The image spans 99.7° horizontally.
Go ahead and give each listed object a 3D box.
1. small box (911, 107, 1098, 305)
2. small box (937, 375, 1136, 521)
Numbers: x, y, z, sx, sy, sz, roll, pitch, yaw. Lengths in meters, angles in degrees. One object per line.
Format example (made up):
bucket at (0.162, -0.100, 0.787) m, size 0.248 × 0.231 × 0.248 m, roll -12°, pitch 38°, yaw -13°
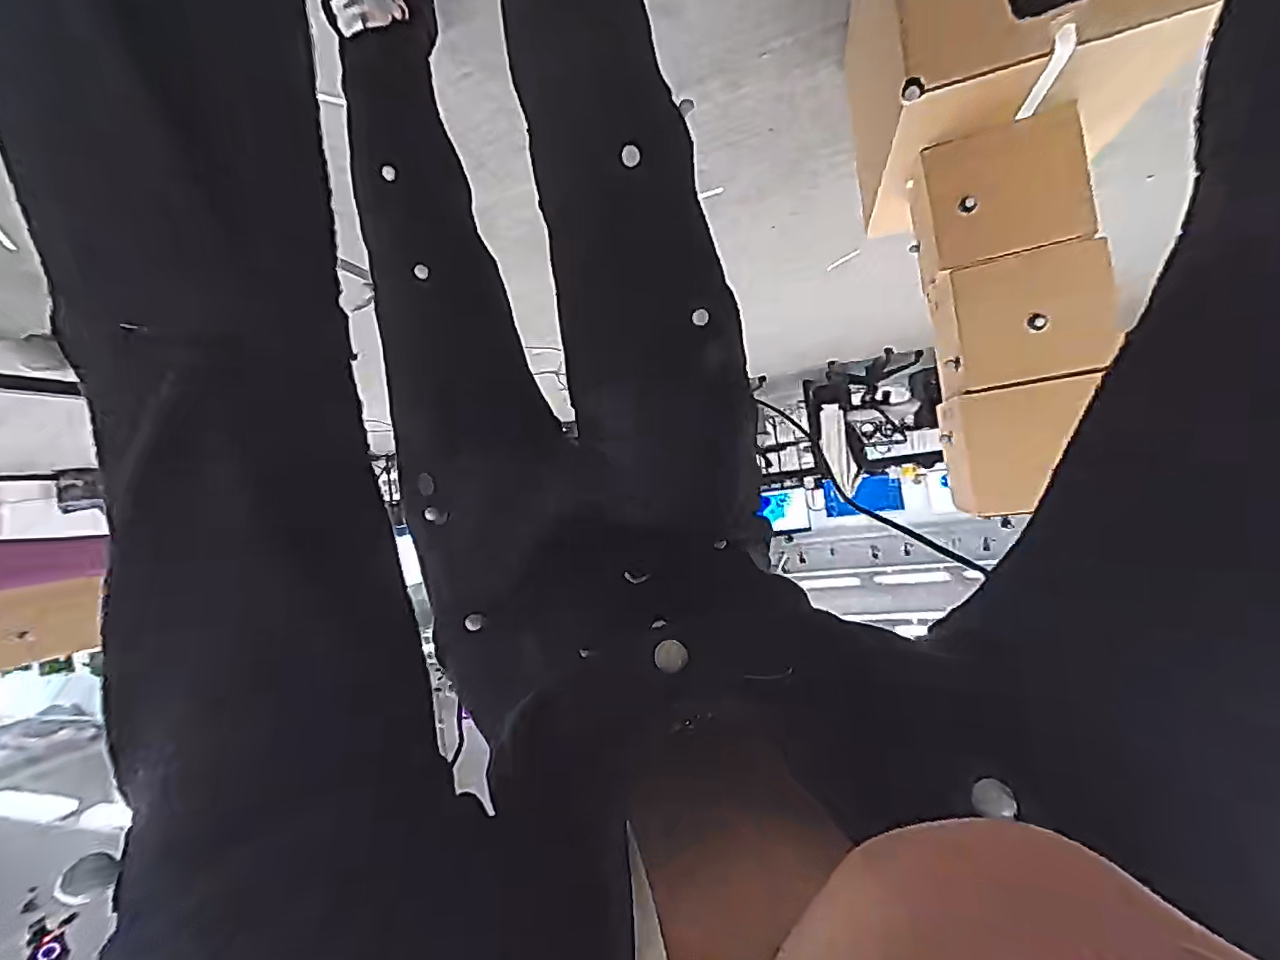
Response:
small box at (0.491, -0.369, 0.759) m, size 0.179 × 0.176 × 0.168 m, roll -9°, pitch 180°, yaw 22°
small box at (0.541, -0.044, 0.763) m, size 0.179 × 0.176 × 0.168 m, roll -8°, pitch 179°, yaw 19°
